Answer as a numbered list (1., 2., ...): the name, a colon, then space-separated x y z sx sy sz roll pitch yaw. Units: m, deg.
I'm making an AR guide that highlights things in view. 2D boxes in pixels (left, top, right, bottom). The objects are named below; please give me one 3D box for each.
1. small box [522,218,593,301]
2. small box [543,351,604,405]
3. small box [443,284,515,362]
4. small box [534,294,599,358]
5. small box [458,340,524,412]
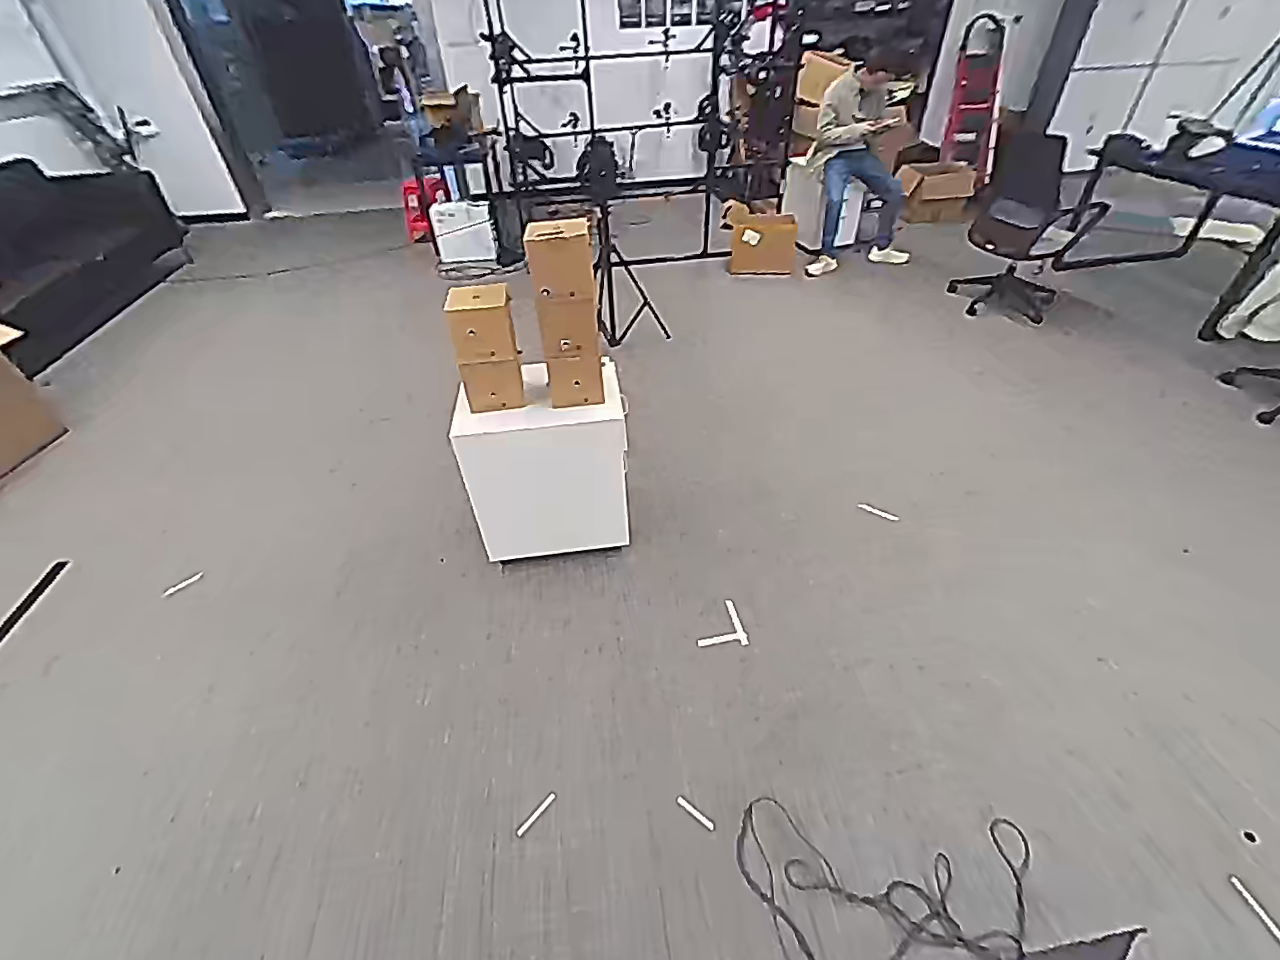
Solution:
1. small box: -0.220 -0.601 1.484 0.168 0.176 0.179 -6 39 -2
2. small box: -0.205 -0.346 1.691 0.168 0.176 0.179 -7 42 -3
3. small box: -0.462 -0.453 1.579 0.168 0.176 0.179 -7 40 -6
4. small box: -0.214 -0.477 1.592 0.168 0.176 0.179 -7 41 -3
5. small box: -0.460 -0.331 1.686 0.168 0.176 0.179 -8 41 -7
